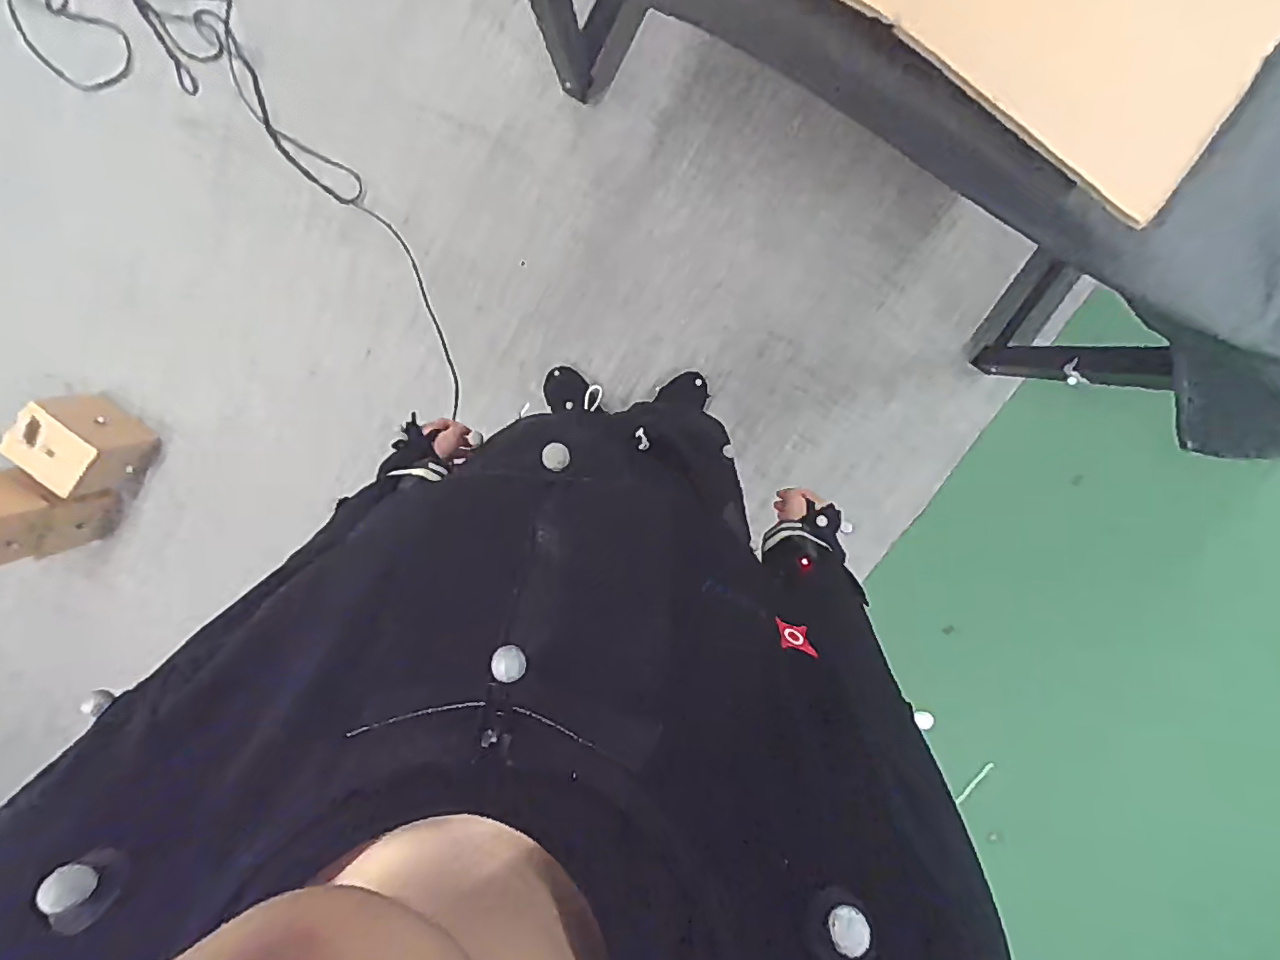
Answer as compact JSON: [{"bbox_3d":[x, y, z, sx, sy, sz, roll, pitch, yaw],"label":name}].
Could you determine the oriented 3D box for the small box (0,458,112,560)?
[{"bbox_3d":[-1.507,0.063,1.362,0.179,0.176,0.168,34,103,-8],"label":"small box"}]

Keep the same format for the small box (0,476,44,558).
[{"bbox_3d":[-1.516,0.087,1.200,0.179,0.176,0.168,34,102,-7],"label":"small box"}]
